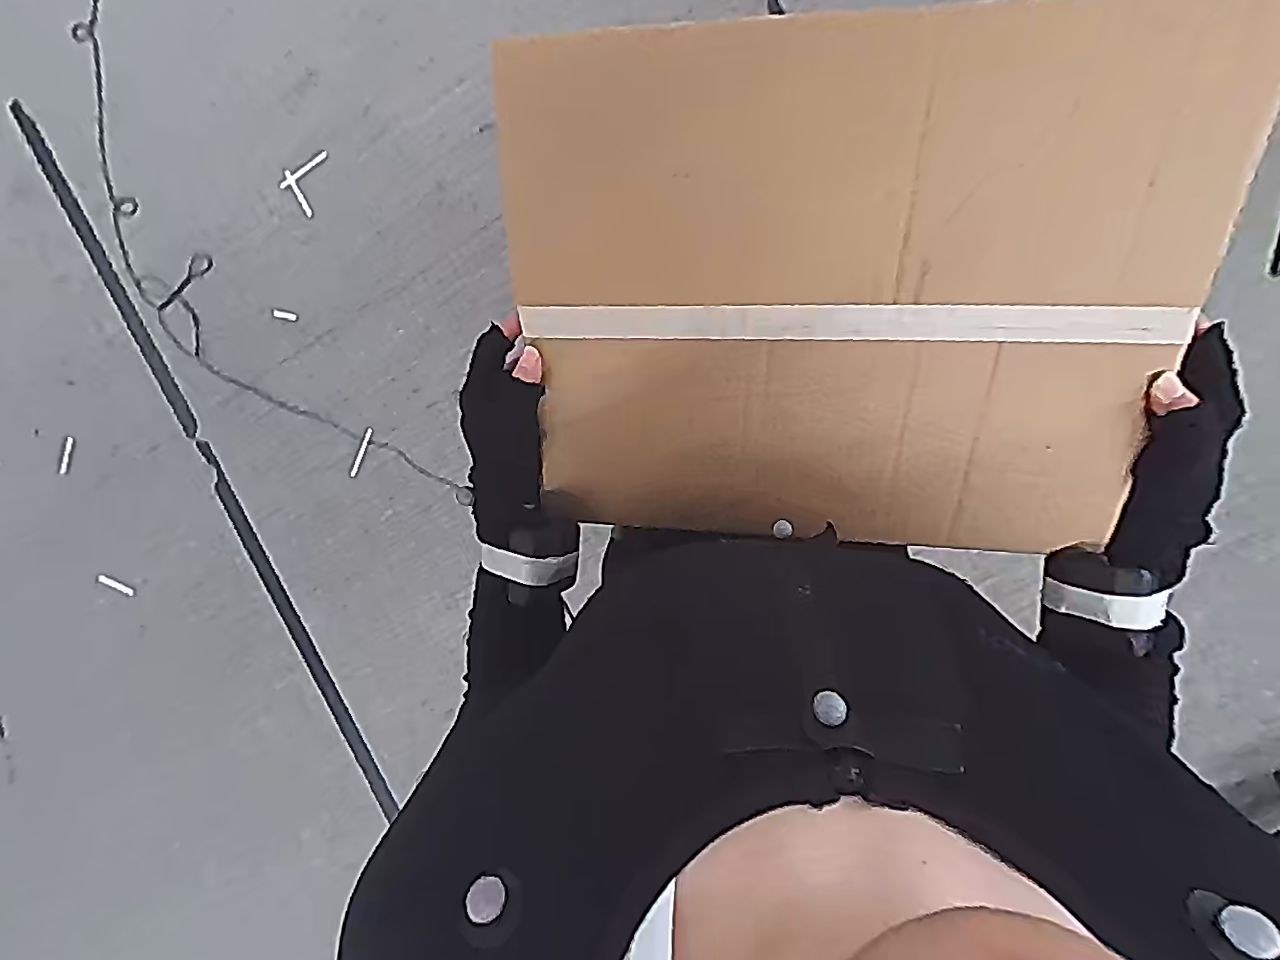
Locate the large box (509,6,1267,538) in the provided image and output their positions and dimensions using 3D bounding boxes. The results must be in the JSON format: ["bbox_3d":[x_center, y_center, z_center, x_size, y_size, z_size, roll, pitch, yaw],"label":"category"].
[{"bbox_3d":[0.140,-0.164,0.491,0.408,0.320,0.320,3,116,8],"label":"large box"}]
